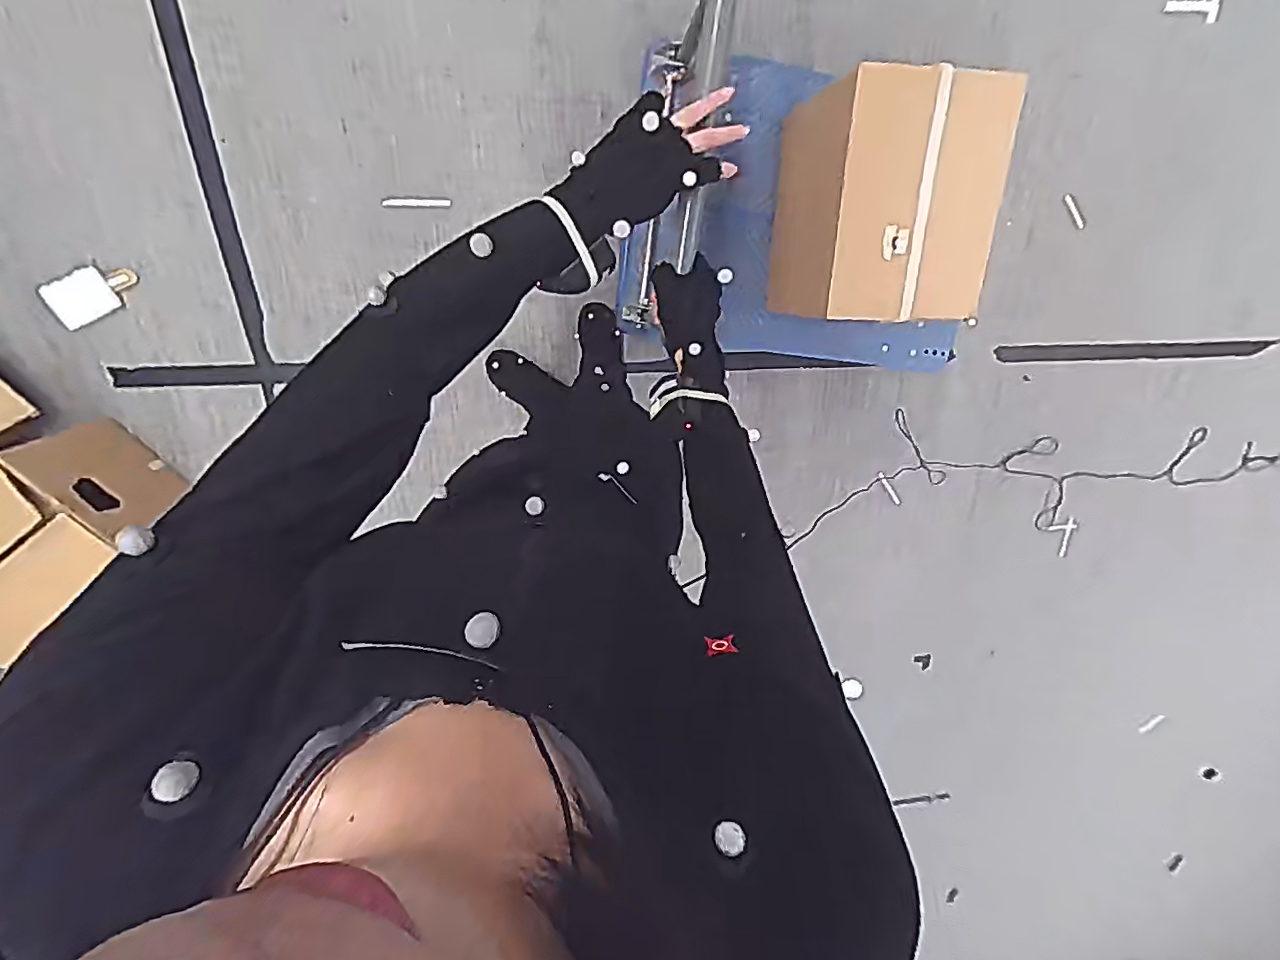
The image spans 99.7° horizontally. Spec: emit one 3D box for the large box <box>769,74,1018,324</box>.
[{"bbox_3d":[0.477,-0.541,1.110,0.320,0.320,0.408,-2,111,-8],"label":"large box"}]
